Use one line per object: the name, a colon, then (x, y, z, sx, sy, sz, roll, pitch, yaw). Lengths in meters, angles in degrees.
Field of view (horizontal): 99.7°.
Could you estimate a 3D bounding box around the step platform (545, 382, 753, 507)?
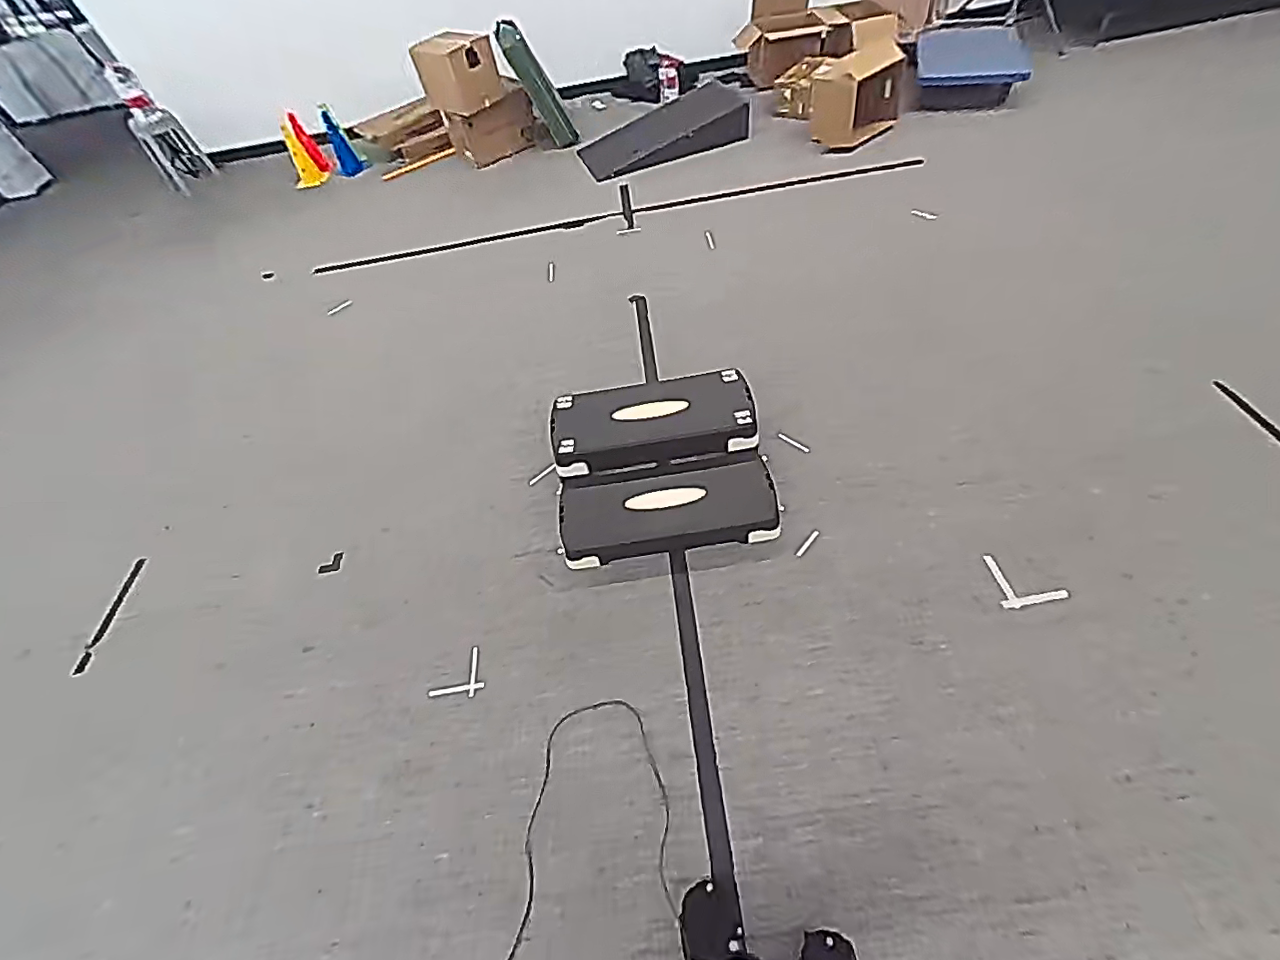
step platform: (0.027, -0.125, 1.817, 0.684, 0.204, 0.286, -9, 52, 1)
